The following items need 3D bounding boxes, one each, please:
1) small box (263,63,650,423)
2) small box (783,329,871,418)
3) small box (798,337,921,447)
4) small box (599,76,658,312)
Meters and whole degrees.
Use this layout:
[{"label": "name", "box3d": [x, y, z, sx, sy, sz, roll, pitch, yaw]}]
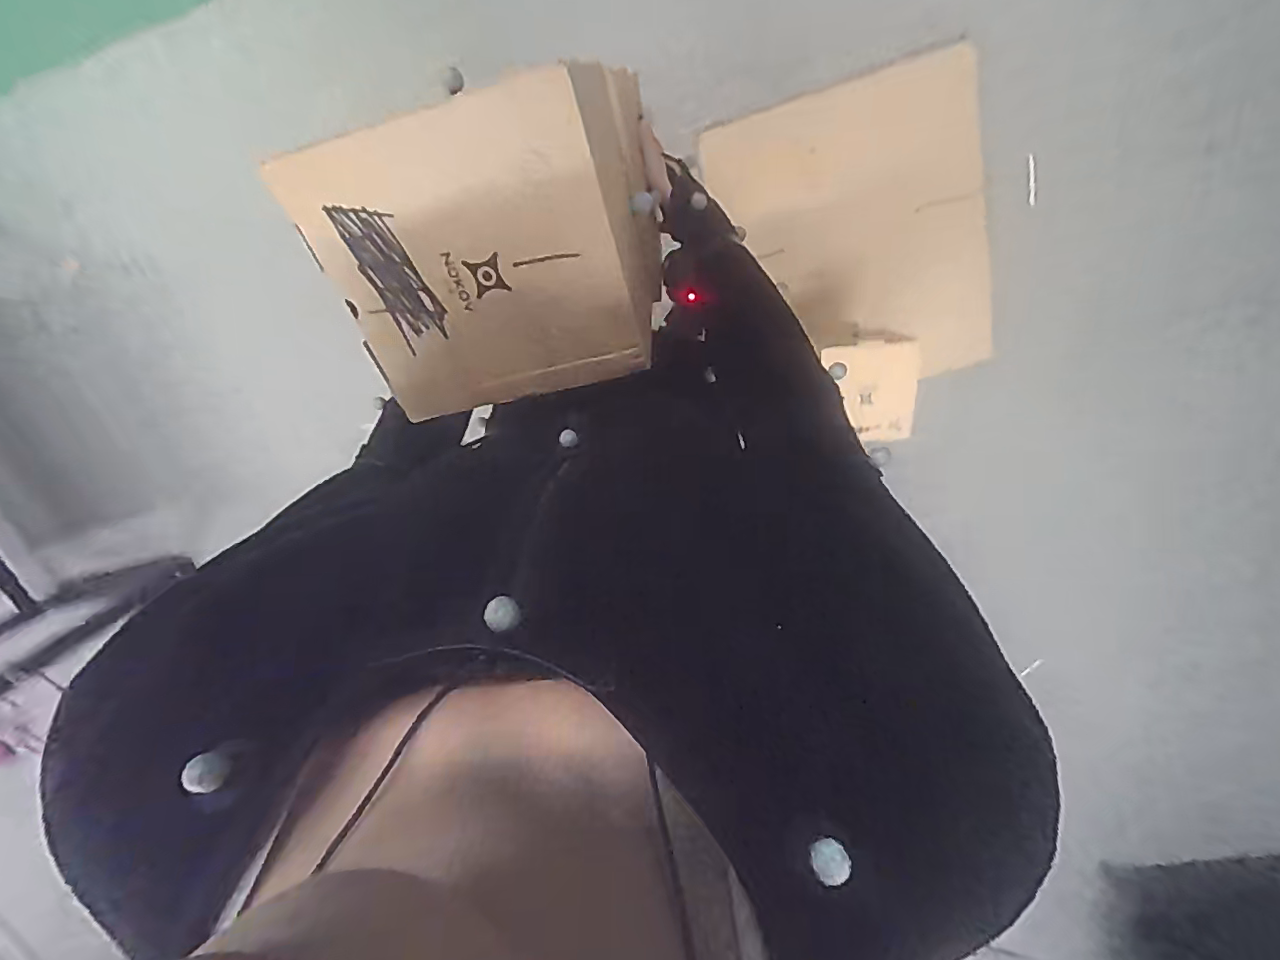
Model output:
[{"label": "small box", "box3d": [-0.095, -0.165, 0.379, 0.179, 0.176, 0.168, -11, 127, 10]}, {"label": "small box", "box3d": [0.421, -0.226, 1.161, 0.179, 0.176, 0.168, 6, 113, 1]}, {"label": "small box", "box3d": [0.396, -0.171, 1.008, 0.168, 0.176, 0.179, -2, 111, 4]}, {"label": "small box", "box3d": [-0.078, -0.258, 0.513, 0.168, 0.176, 0.179, -10, 126, 9]}]
